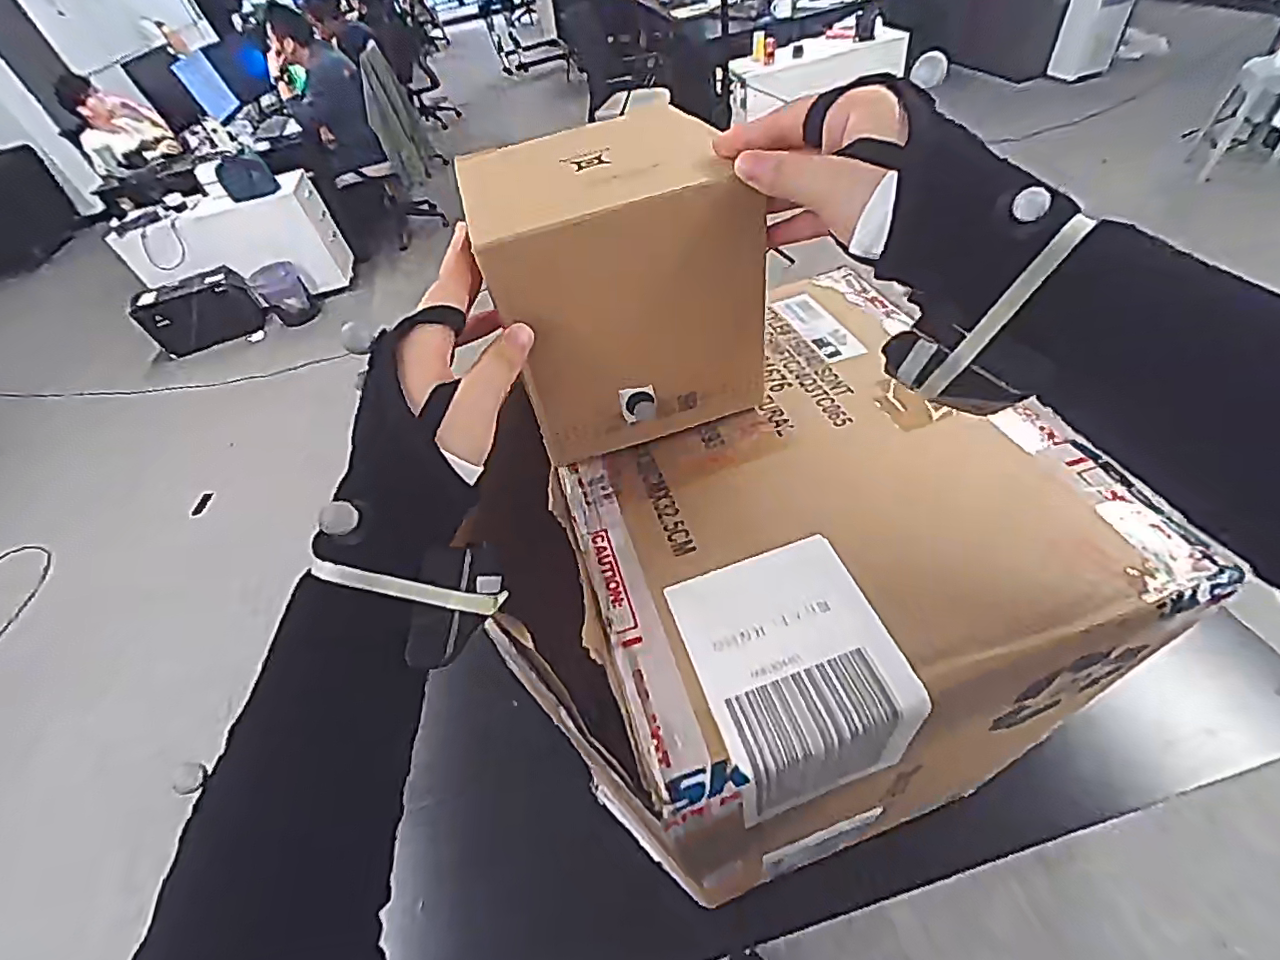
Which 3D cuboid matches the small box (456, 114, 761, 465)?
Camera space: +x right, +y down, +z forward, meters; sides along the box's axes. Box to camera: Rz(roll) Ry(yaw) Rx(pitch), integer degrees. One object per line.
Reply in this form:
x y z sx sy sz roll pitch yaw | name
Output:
-0.023 -0.142 0.404 0.168 0.176 0.179 -19 47 -5 | small box
